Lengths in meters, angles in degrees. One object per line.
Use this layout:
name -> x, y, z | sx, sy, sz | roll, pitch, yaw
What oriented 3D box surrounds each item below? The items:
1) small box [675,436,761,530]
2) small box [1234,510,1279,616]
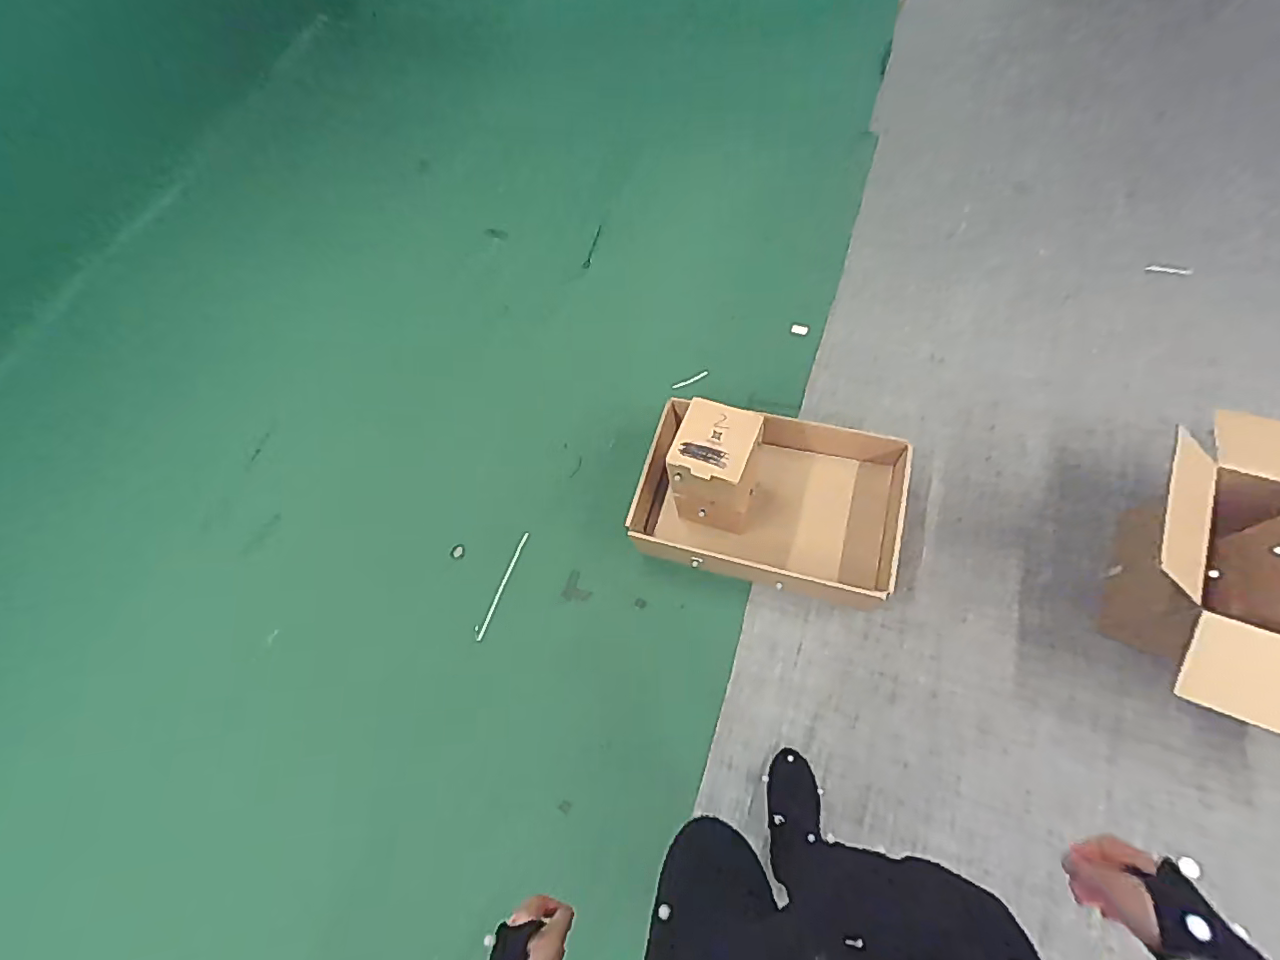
small box -> 0.202, 0.012, 1.384 | 0.179, 0.176, 0.168 | 14, 68, 15
small box -> 1.238, 0.152, 0.977 | 0.168, 0.176, 0.179 | 12, 69, 18
